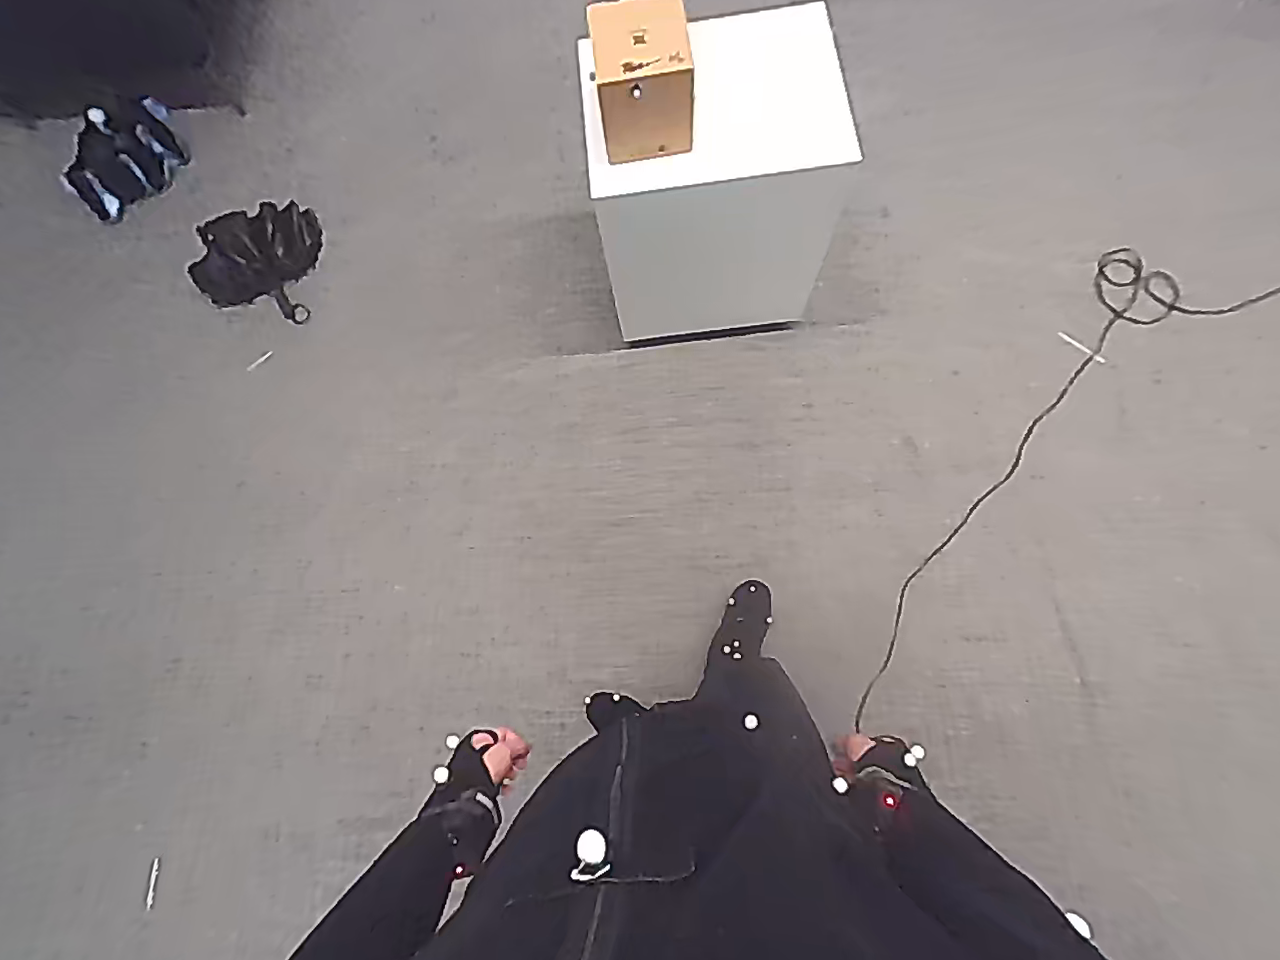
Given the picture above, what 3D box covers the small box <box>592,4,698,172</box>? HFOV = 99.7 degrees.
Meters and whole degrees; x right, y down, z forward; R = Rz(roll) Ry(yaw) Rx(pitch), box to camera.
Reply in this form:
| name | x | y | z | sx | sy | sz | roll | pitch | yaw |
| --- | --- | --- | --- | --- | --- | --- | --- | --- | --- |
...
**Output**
| name | x | y | z | sx | sy | sz | roll | pitch | yaw |
| --- | --- | --- | --- | --- | --- | --- | --- | --- | --- |
| small box | 0.011 | -0.704 | 0.985 | 0.168 | 0.176 | 0.179 | -8 | 74 | 3 |
